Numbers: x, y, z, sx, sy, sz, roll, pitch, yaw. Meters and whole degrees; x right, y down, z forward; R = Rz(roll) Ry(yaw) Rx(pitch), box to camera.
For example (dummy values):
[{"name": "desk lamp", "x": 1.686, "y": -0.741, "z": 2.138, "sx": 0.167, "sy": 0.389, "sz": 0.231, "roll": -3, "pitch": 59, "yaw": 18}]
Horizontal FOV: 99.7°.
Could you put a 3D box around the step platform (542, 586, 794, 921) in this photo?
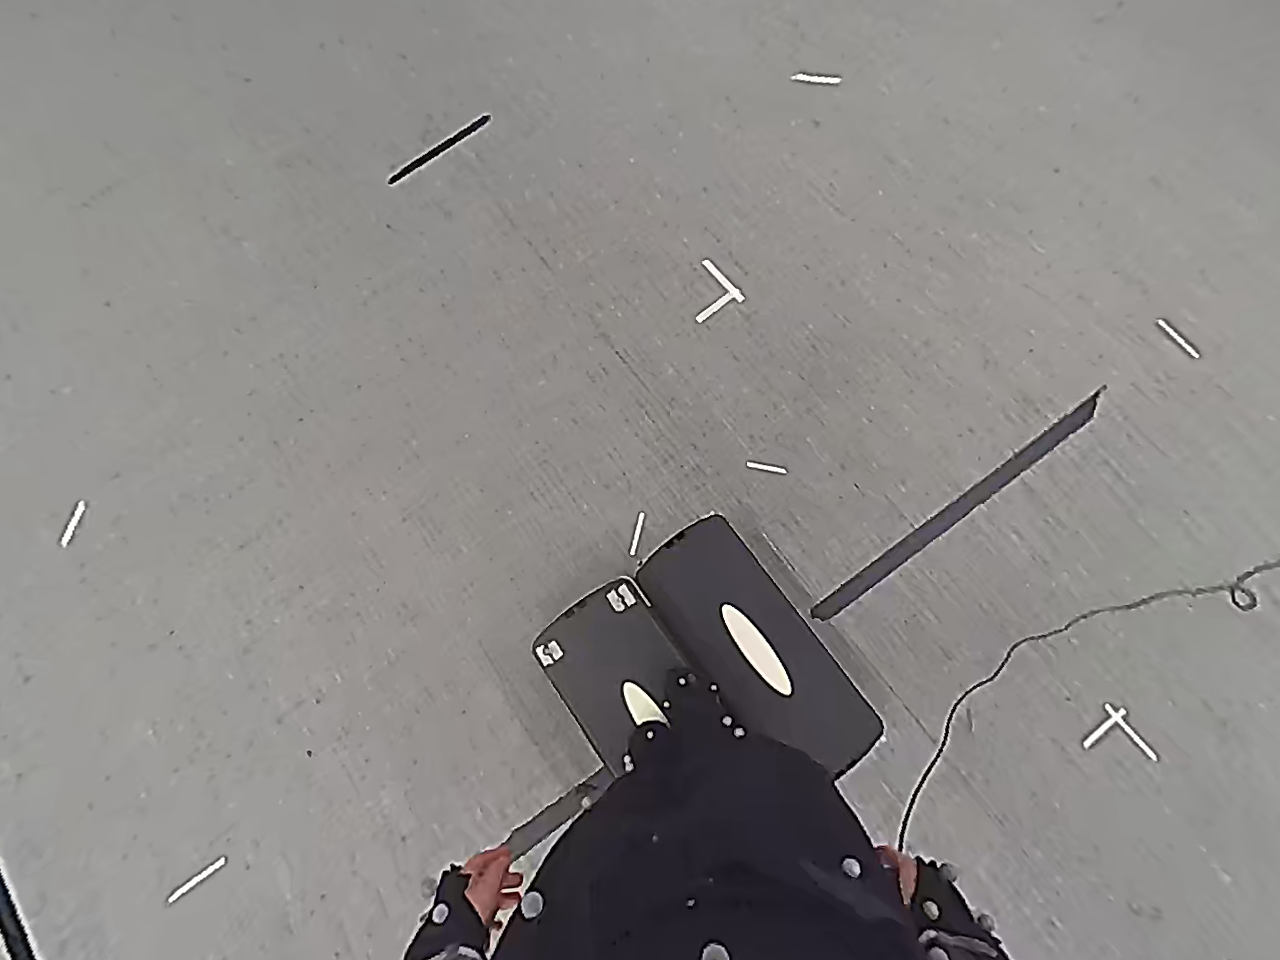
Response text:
[{"name": "step platform", "x": 0.049, "y": 0.591, "z": 1.250, "sx": 0.286, "sy": 0.204, "sz": 0.684, "roll": -32, "pitch": 76, "yaw": -6}]
